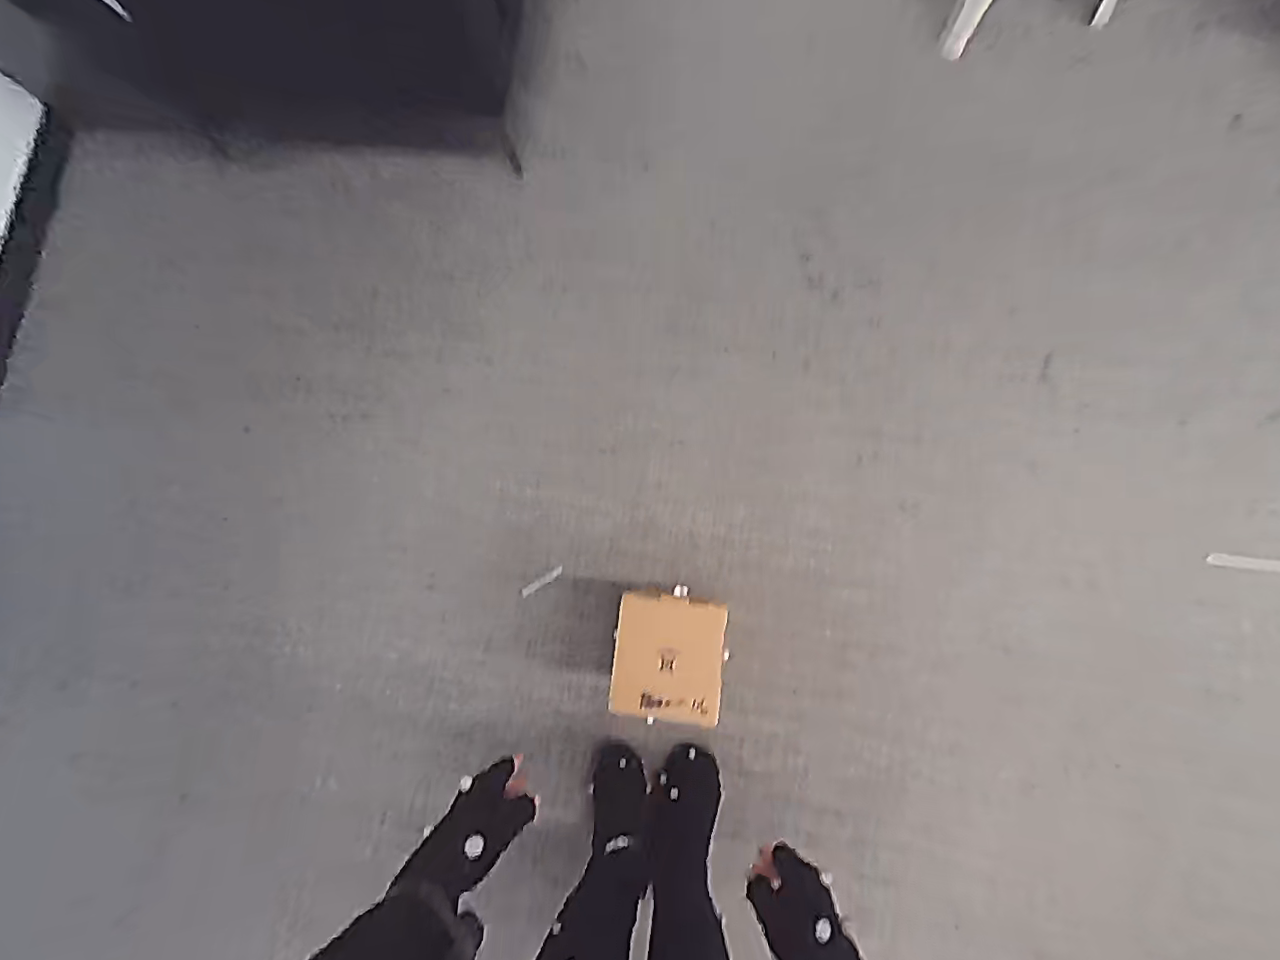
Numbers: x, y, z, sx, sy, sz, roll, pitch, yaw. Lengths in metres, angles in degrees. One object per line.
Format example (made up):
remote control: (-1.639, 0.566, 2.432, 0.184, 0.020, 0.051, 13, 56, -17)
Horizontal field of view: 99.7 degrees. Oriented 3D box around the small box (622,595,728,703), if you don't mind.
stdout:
small box: (0.071, 0.319, 1.054, 0.179, 0.176, 0.168, 7, 81, 7)
